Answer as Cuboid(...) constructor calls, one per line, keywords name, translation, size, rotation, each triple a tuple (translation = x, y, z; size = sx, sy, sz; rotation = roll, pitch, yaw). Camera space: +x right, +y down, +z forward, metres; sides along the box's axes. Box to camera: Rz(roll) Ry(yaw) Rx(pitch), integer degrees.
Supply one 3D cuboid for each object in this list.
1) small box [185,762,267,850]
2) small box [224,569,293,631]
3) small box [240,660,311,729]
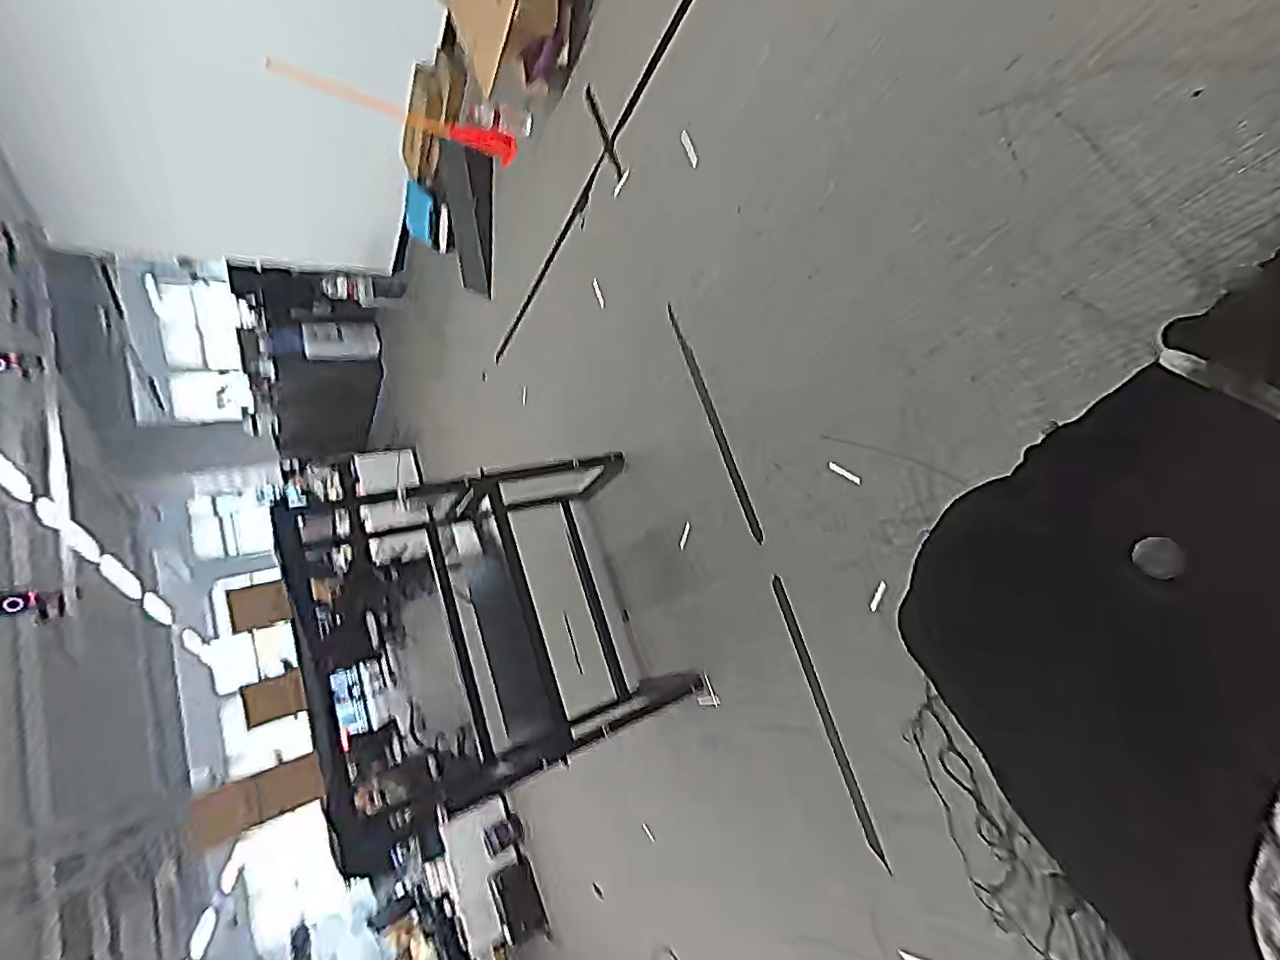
Cuboid(name="small box", translation=(-1.241, 0.974, 1.633), size=(0.179, 0.176, 0.168), rotation=(-36, 70, 53))
Cuboid(name="small box", translation=(-1.292, 0.410, 1.839), size=(0.179, 0.176, 0.168), rotation=(-26, 78, 54))
Cuboid(name="small box", translation=(-1.195, 0.702, 1.779), size=(0.179, 0.176, 0.168), rotation=(-35, 69, 54))
